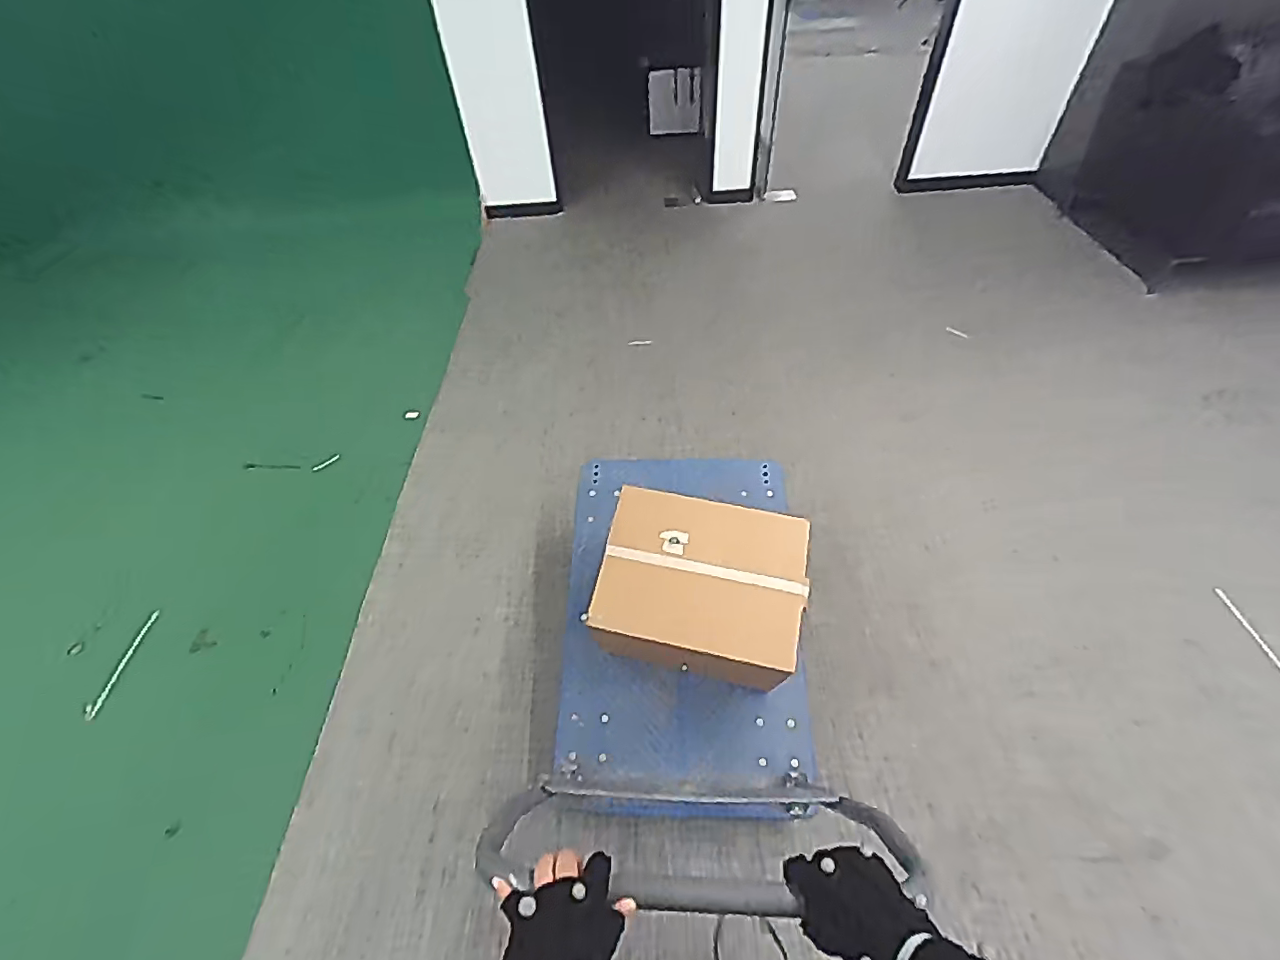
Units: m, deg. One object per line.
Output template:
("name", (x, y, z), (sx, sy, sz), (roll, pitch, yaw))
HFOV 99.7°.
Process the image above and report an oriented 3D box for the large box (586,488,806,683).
("large box", (0.131, 0.248, 1.218), (0.408, 0.320, 0.320), (11, 64, 10))
